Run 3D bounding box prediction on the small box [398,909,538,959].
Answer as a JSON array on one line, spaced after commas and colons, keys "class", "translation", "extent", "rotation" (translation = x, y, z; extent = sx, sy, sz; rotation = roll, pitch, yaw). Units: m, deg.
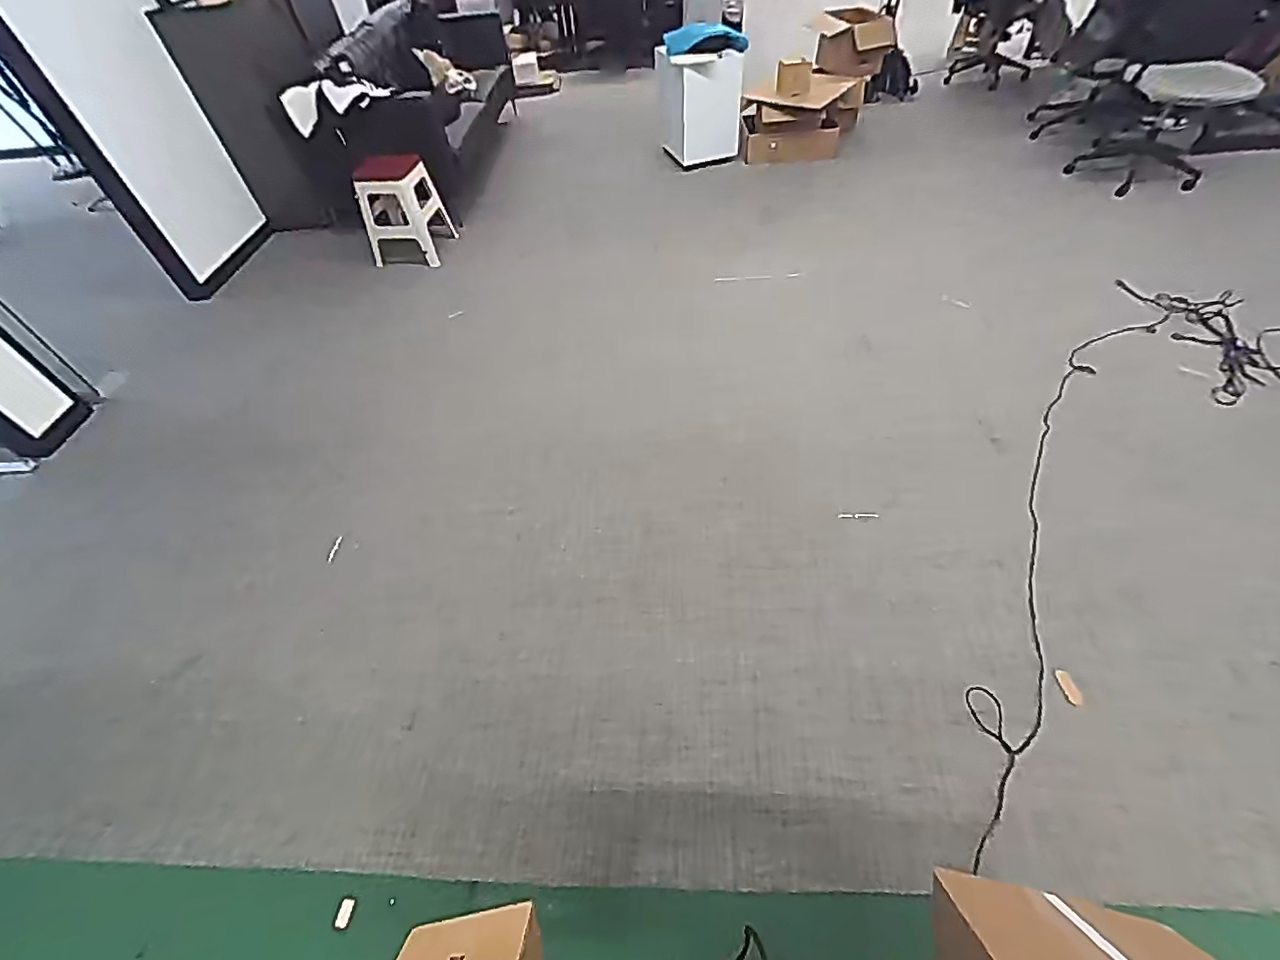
[{"class": "small box", "translation": [-0.210, 0.670, 0.641], "extent": [0.168, 0.179, 0.176], "rotation": [-11, 85, -3]}]
